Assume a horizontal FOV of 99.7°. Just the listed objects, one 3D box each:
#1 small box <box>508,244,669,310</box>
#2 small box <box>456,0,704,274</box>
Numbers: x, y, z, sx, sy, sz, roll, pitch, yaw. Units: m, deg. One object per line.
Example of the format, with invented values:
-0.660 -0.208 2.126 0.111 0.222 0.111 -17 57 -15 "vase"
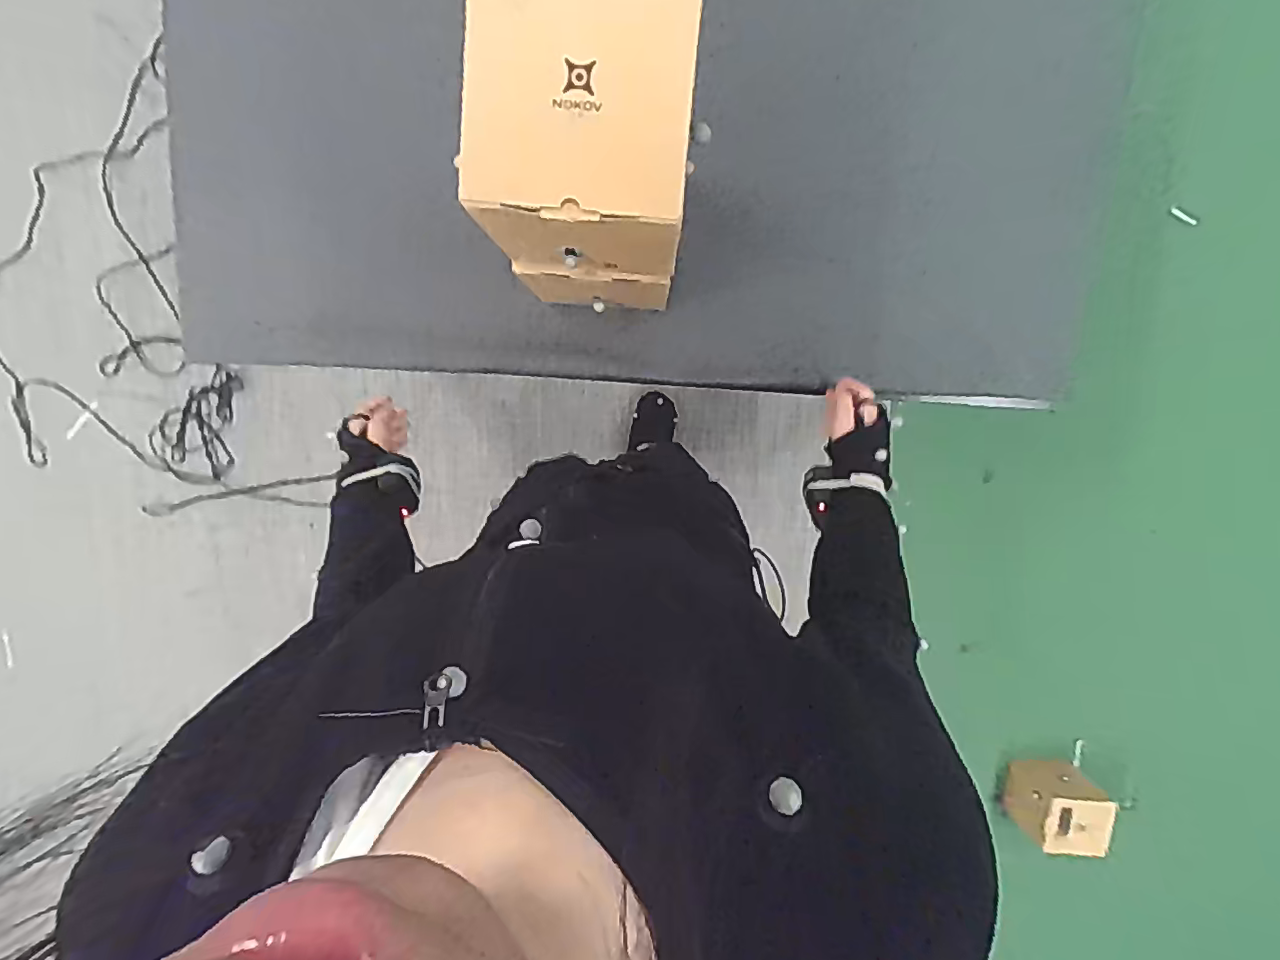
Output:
-0.045 -0.305 0.620 0.168 0.176 0.179 5 98 0 "small box"
-0.044 -0.291 0.457 0.168 0.176 0.179 5 98 0 "small box"
